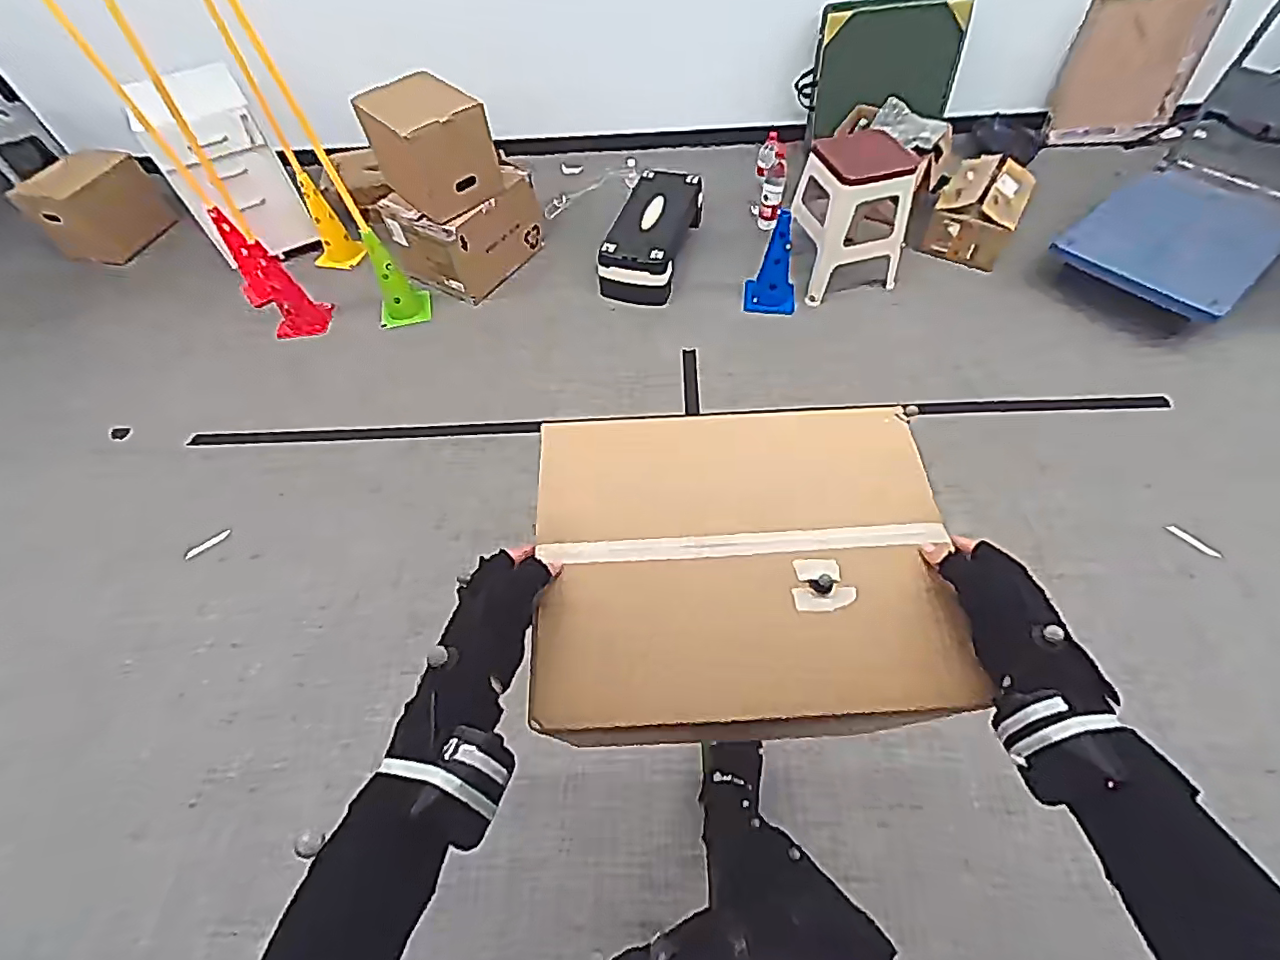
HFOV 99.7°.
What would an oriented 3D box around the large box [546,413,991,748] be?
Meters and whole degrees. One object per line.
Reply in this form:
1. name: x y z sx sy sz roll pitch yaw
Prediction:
1. large box: 0.105 0.140 0.673 0.408 0.320 0.320 -3 61 -1
